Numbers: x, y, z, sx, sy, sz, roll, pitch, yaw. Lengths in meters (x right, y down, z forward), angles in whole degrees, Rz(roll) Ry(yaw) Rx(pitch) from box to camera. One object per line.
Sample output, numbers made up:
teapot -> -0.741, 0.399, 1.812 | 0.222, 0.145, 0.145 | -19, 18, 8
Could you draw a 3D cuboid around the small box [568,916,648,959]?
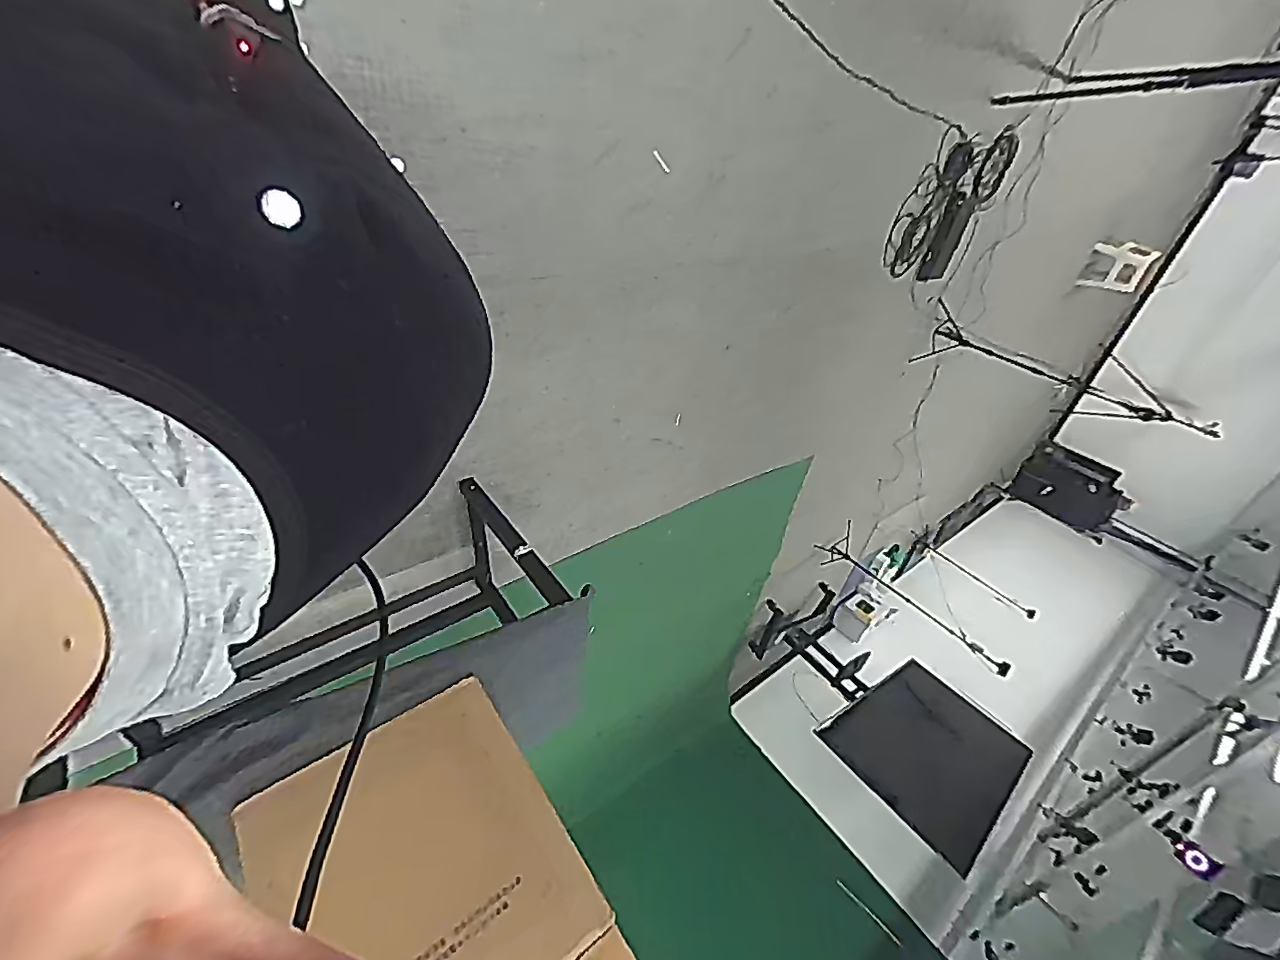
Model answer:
small box -> -0.061, 0.971, 1.008 | 0.168, 0.176, 0.179 | -24, 137, -33
